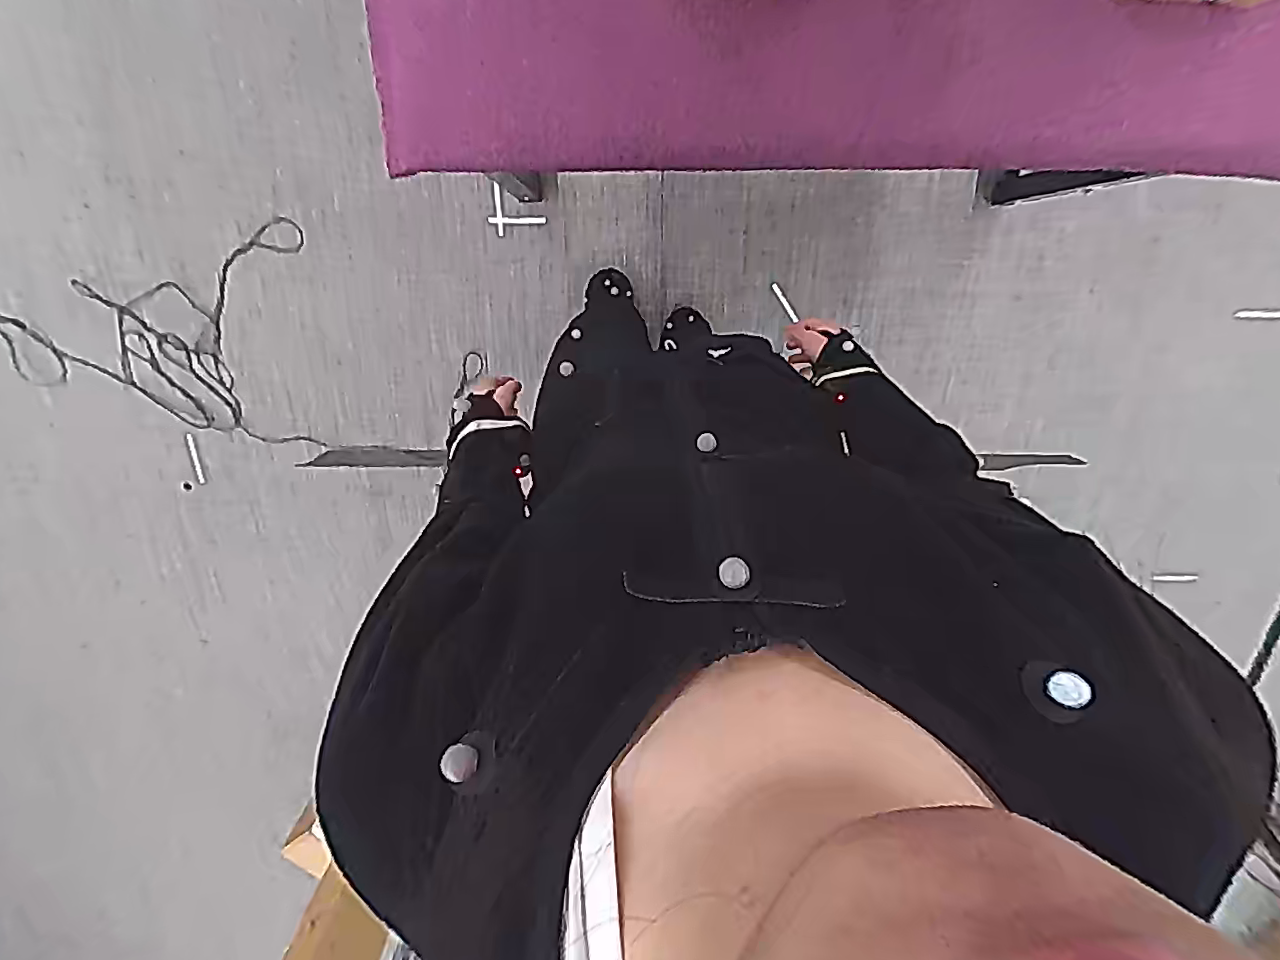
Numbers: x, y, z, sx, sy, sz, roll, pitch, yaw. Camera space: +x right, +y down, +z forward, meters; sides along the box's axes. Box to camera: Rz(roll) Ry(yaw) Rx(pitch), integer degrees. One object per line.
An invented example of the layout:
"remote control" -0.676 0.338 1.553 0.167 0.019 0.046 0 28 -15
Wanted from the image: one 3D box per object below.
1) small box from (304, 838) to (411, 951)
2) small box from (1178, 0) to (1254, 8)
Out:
"small box" -0.786 1.164 1.528 0.168 0.176 0.179 -39 106 11
"small box" 0.588 -0.568 0.476 0.168 0.176 0.179 2 111 -2
